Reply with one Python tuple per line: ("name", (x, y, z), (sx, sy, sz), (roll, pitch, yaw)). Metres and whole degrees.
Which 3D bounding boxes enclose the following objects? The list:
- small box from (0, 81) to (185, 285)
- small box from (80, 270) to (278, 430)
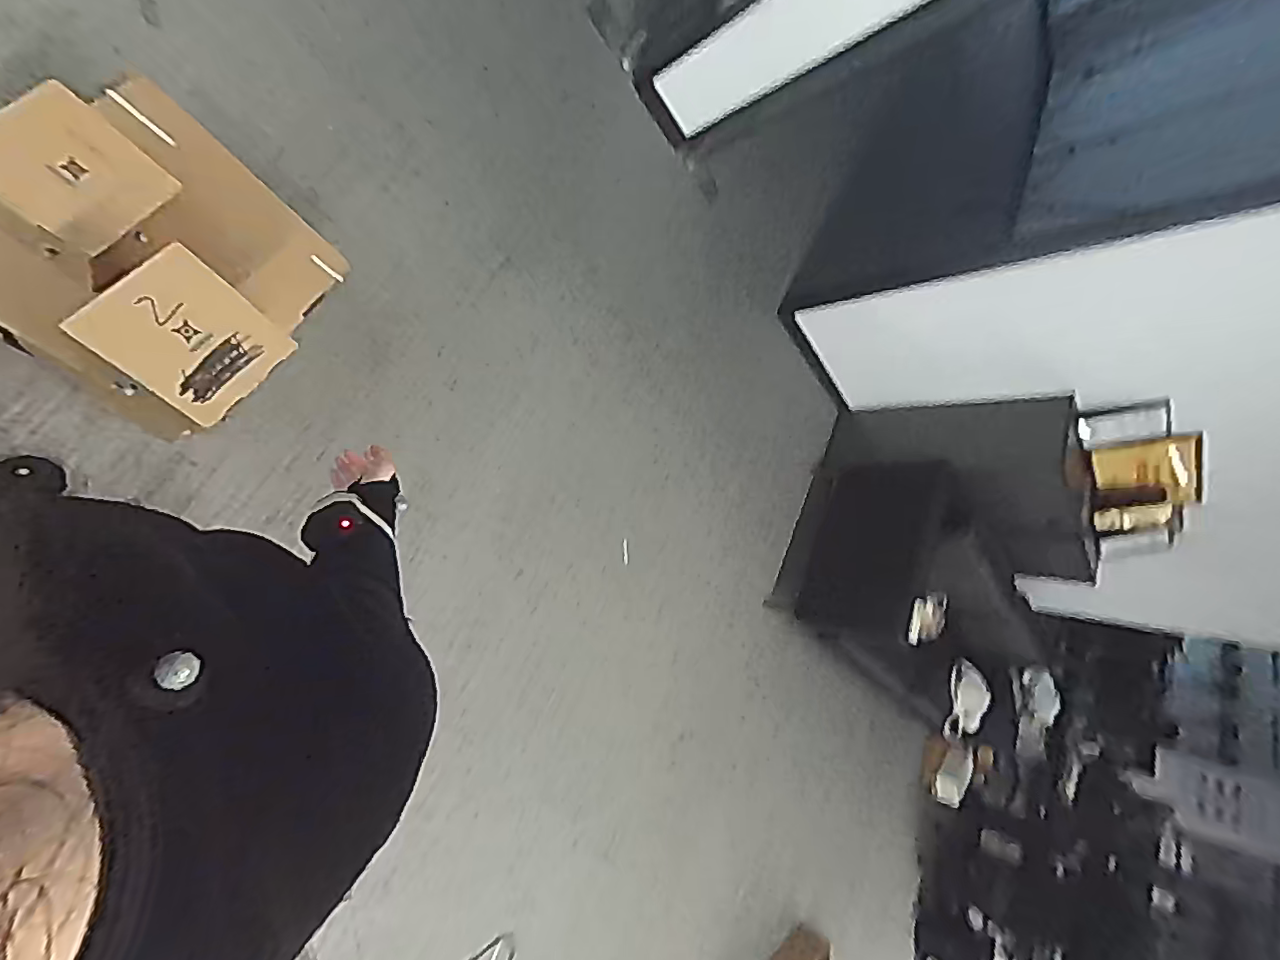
("small box", (-0.815, -0.416, 0.786), (0.168, 0.176, 0.179), (46, 60, -34))
("small box", (-0.733, -0.198, 0.865), (0.168, 0.176, 0.179), (48, 59, -34))
